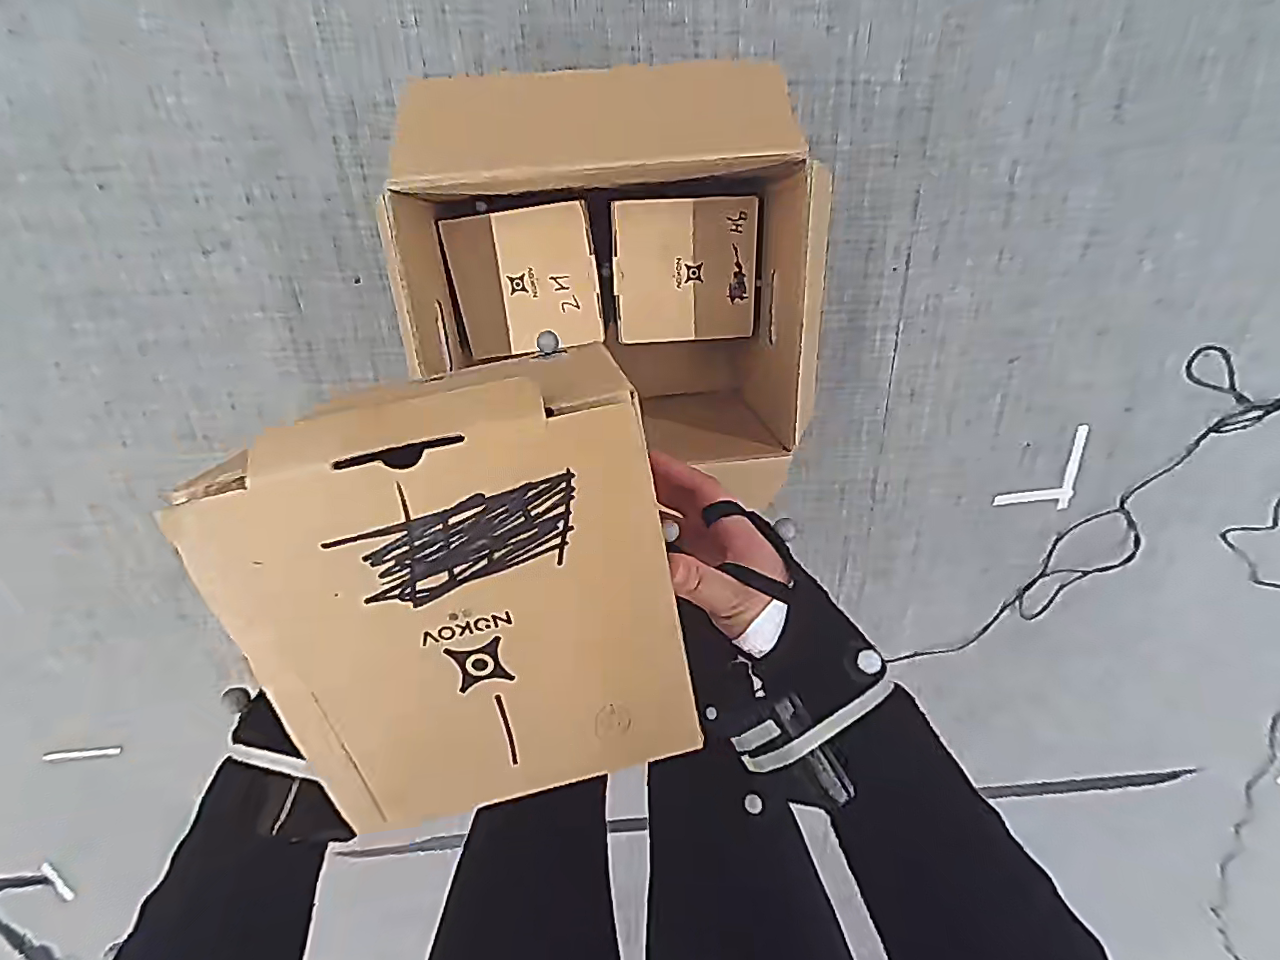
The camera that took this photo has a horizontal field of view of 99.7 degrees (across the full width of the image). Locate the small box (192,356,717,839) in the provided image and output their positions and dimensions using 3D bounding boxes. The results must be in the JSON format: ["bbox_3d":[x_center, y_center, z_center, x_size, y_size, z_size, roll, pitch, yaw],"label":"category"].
[{"bbox_3d":[-0.069,0.037,0.290,0.168,0.176,0.179,-13,112,-3],"label":"small box"}]
